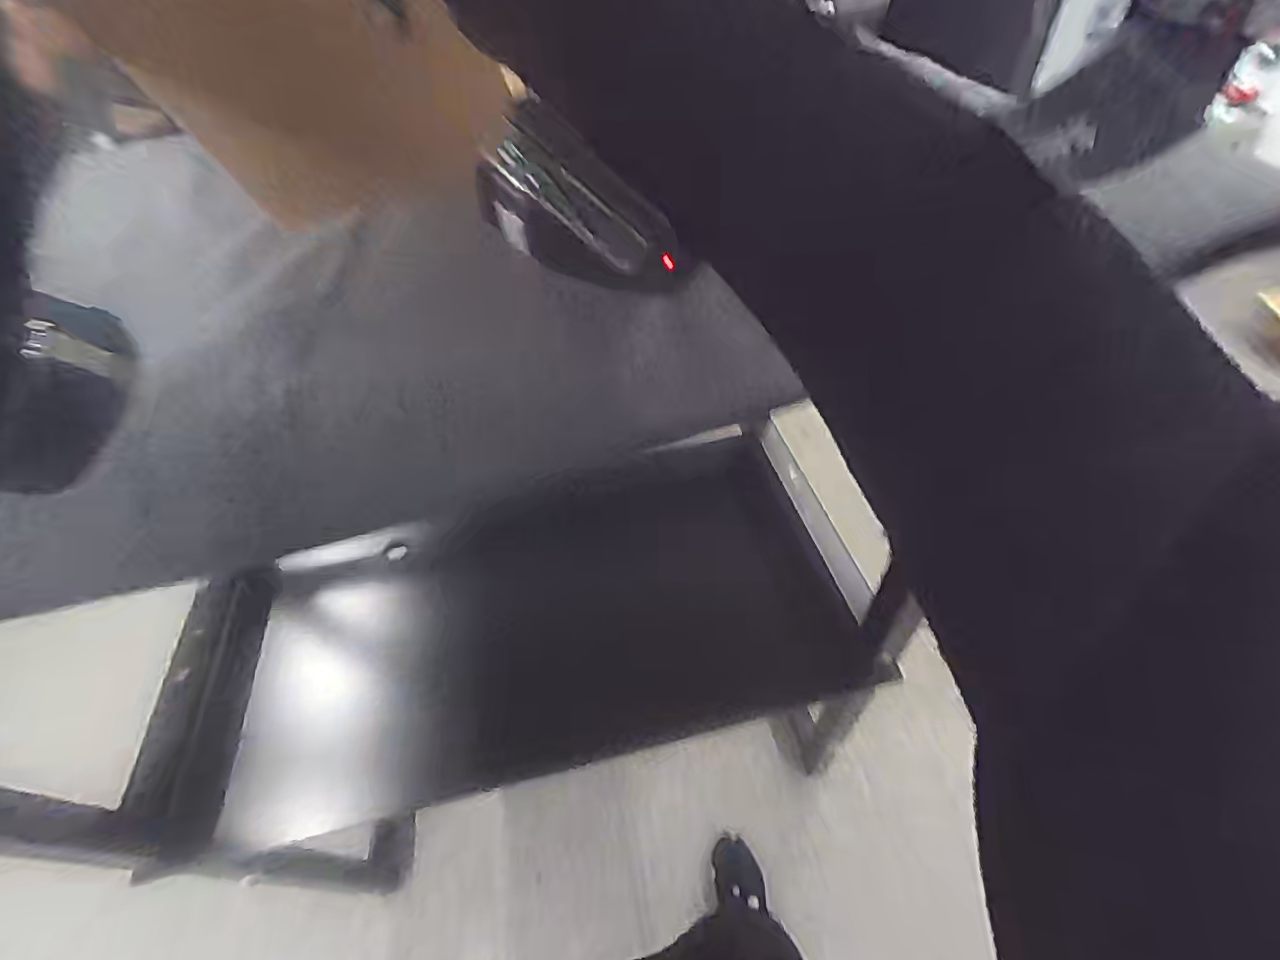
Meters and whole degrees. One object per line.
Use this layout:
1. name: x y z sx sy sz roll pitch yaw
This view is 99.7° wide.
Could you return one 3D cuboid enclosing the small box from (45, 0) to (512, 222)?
1. small box: -0.180 -0.281 0.297 0.179 0.176 0.168 -14 65 5
